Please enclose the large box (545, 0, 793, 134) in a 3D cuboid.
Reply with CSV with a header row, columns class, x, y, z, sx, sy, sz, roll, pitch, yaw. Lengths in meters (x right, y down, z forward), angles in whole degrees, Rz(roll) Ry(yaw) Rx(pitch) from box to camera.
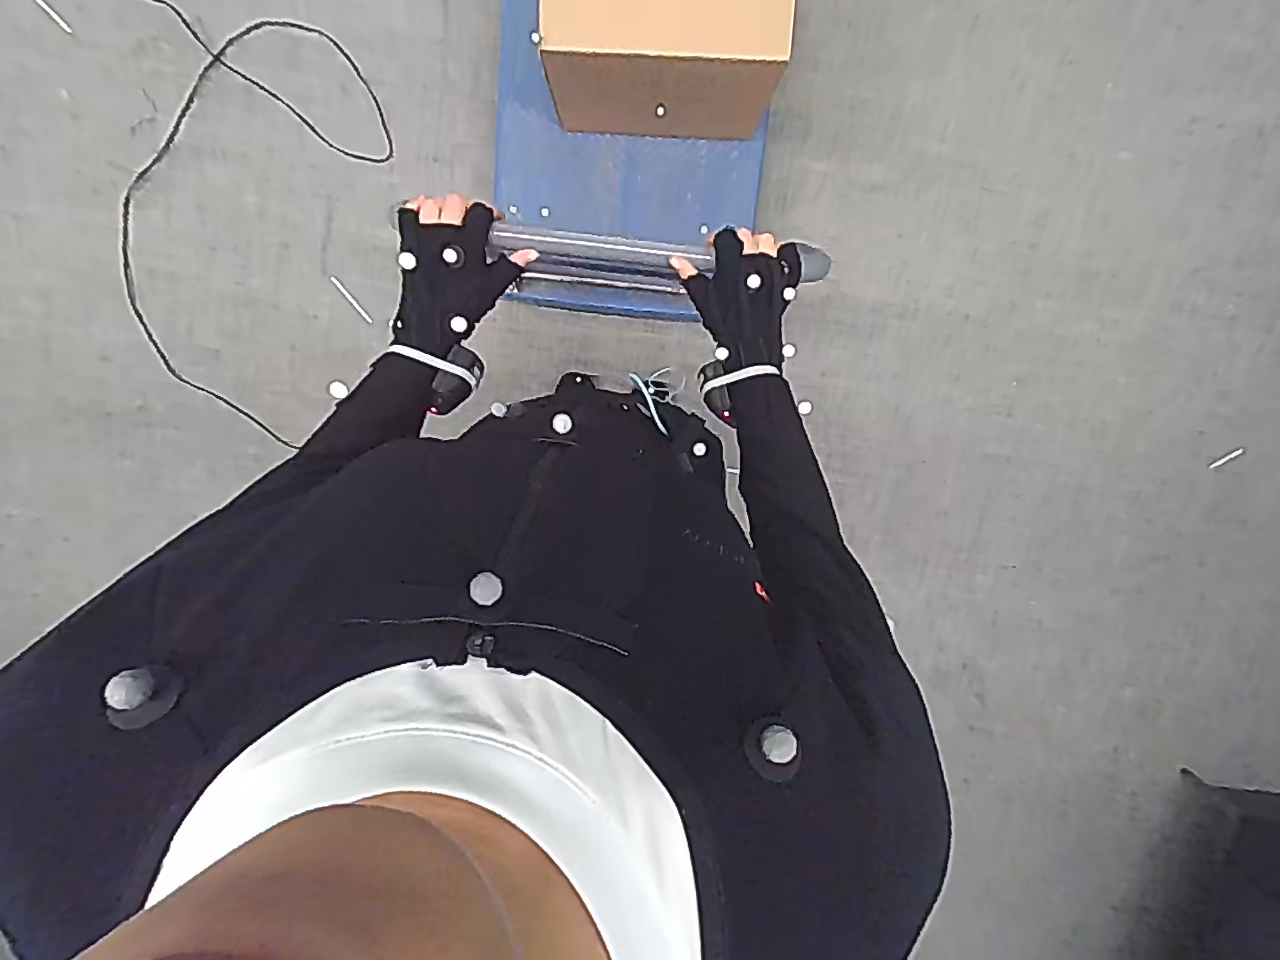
class,x,y,z,sx,sy,sz,roll,pitch,yaw
large box,0.050,-0.865,0.993,0.408,0.320,0.320,1,102,0
